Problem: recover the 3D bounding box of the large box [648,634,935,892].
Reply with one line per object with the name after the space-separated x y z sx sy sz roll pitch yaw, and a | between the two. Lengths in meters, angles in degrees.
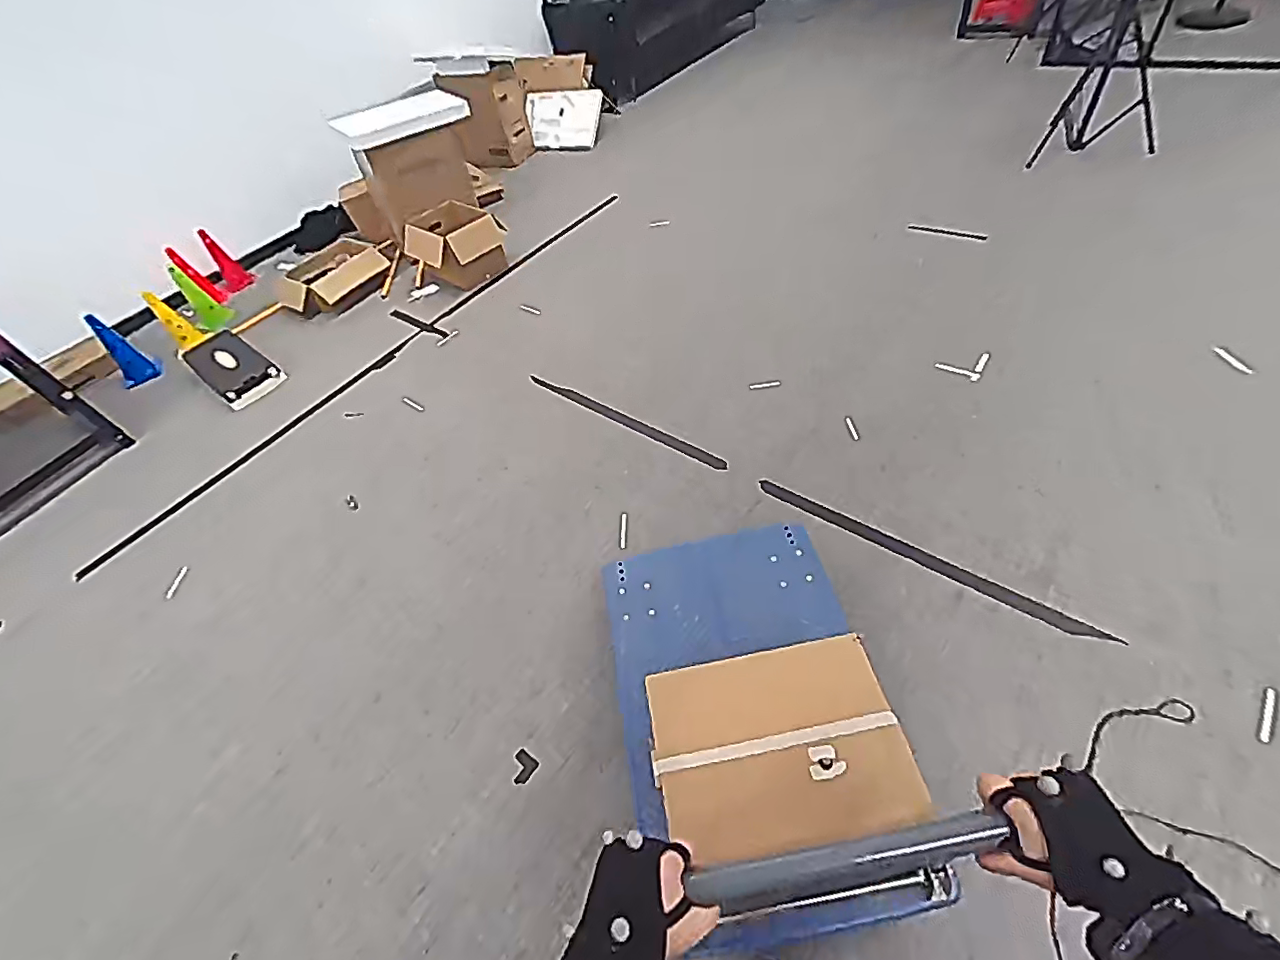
0.250 0.538 1.022 0.408 0.320 0.320 -12 49 0 | large box
